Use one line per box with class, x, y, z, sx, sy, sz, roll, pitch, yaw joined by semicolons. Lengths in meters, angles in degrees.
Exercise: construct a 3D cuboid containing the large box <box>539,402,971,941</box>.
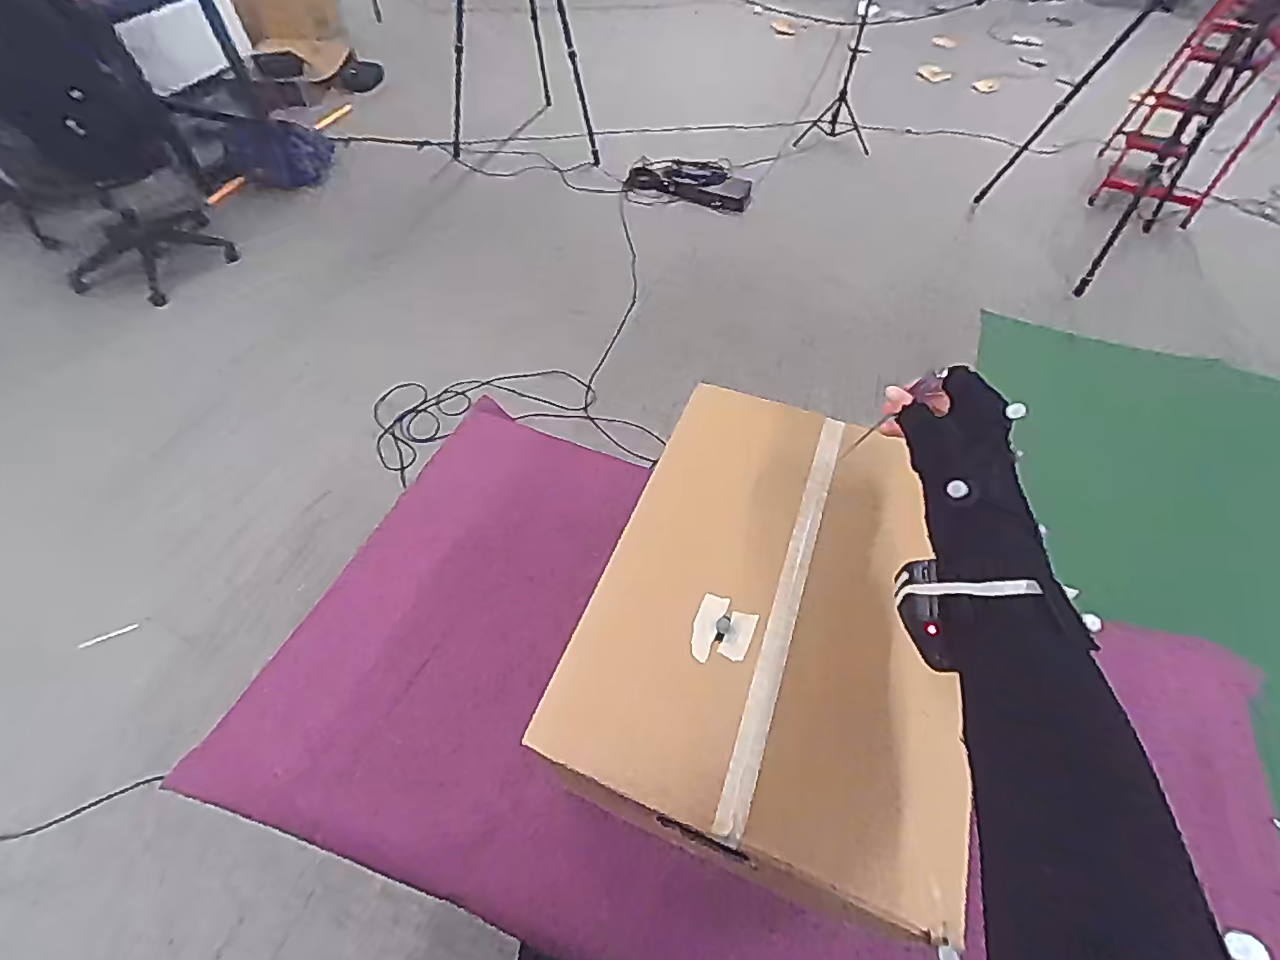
large box;0.128;0.190;0.613;0.320;0.320;0.408;19;57;12
